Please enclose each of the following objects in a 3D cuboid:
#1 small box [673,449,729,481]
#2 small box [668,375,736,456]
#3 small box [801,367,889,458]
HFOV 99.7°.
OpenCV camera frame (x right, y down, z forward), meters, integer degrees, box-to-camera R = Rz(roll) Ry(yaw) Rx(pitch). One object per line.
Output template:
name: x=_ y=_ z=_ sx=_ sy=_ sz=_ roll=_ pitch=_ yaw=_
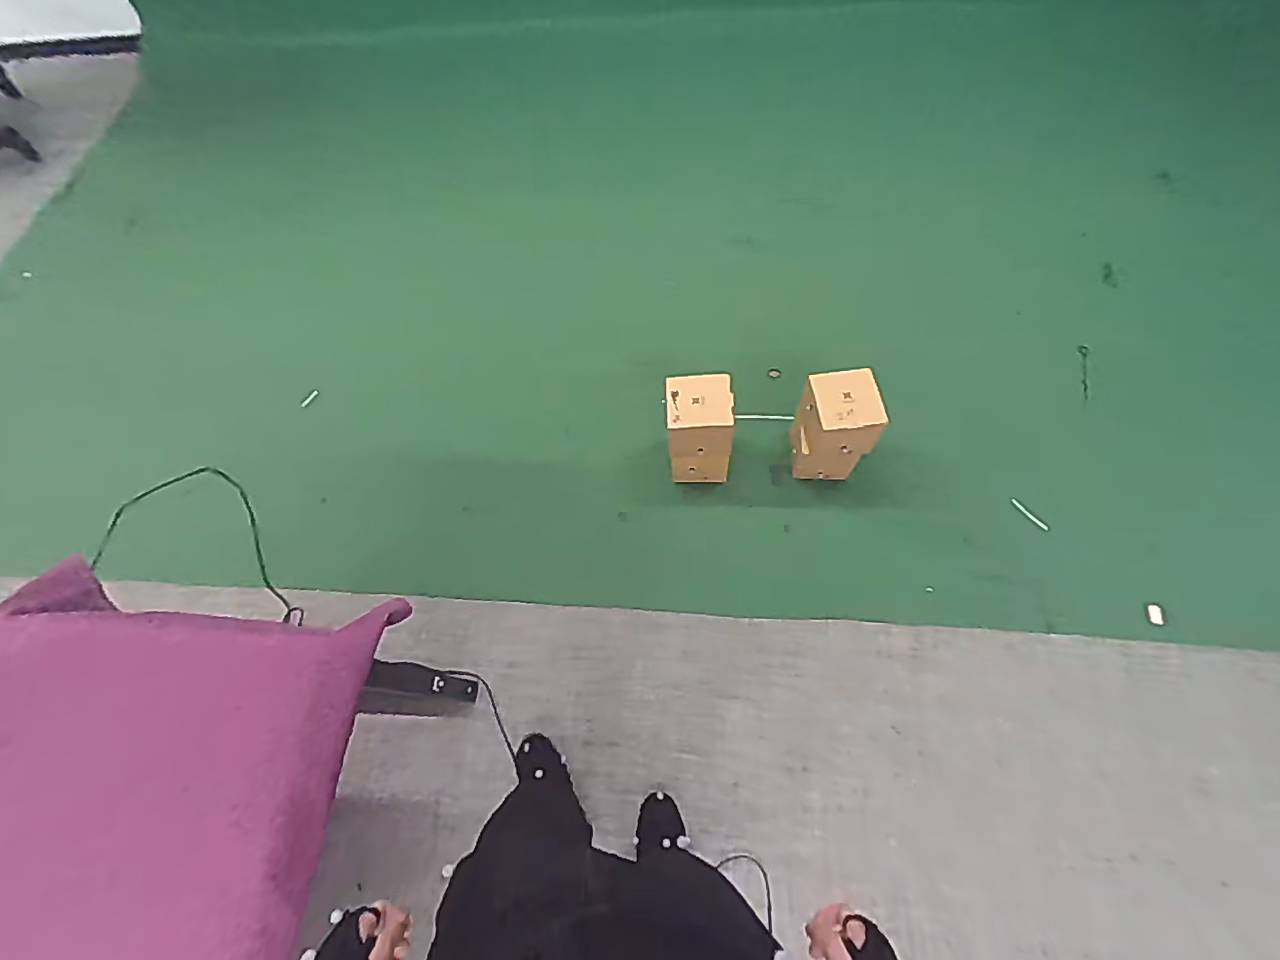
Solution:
small box: x=0.188 y=-0.104 z=1.654 sx=0.168 sy=0.176 sz=0.179 roll=0 pitch=64 yaw=6
small box: x=0.168 y=-0.175 z=1.508 sx=0.179 sy=0.176 sz=0.168 roll=-2 pitch=64 yaw=5
small box: x=0.548 y=-0.181 z=1.469 sx=0.168 sy=0.176 sz=0.179 roll=-7 pitch=65 yaw=3
